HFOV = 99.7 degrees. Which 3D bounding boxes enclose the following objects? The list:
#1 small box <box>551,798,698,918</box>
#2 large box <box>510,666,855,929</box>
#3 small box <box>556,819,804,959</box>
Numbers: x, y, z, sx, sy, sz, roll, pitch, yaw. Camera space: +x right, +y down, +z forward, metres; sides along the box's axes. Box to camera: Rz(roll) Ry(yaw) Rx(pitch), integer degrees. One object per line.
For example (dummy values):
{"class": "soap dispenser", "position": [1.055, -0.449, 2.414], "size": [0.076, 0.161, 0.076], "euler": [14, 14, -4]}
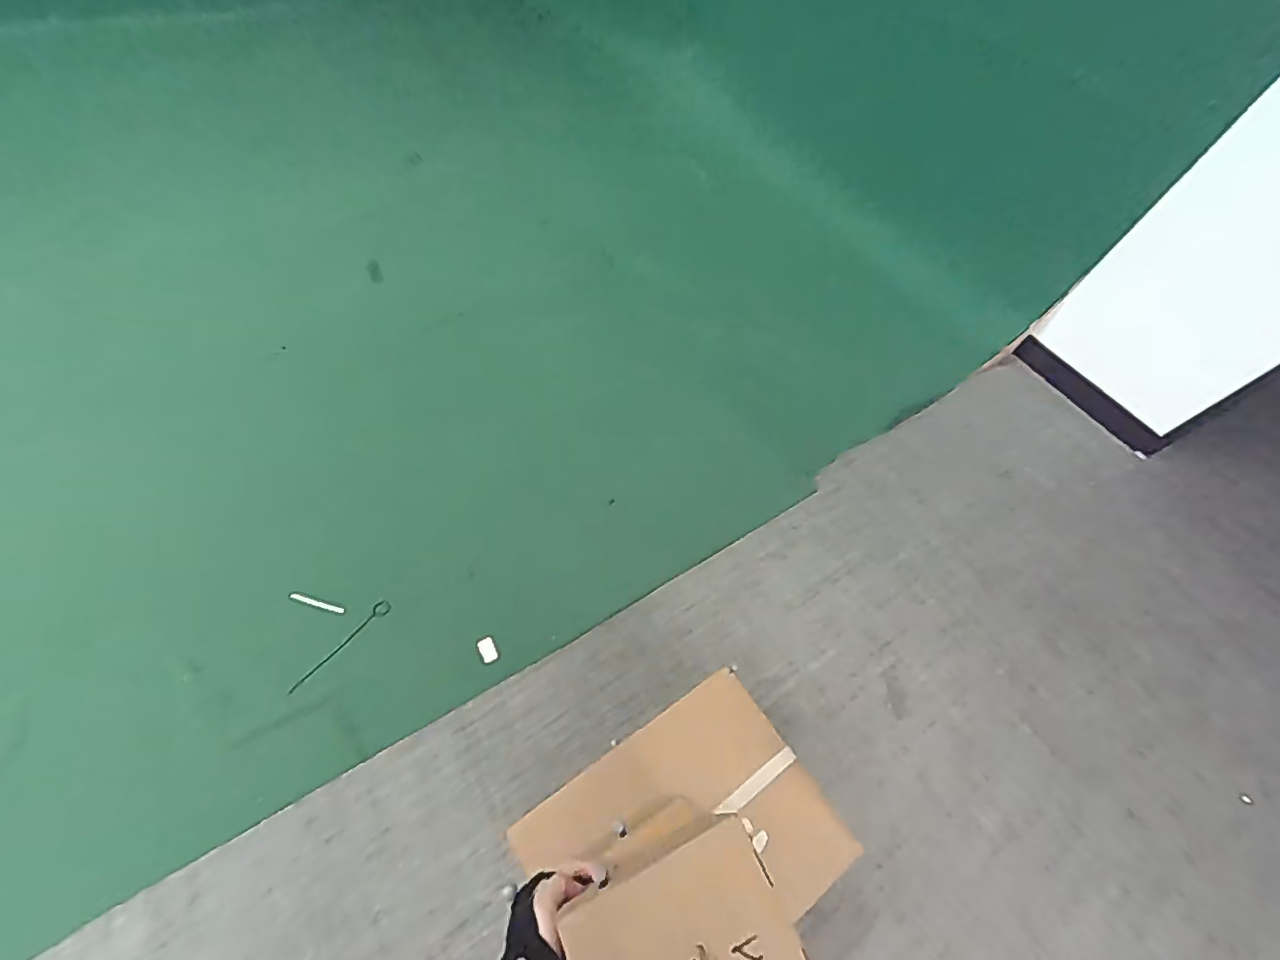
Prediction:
{"class": "small box", "position": [0.011, 0.506, 0.635], "size": [0.179, 0.176, 0.168], "euler": [-25, 66, -21]}
{"class": "large box", "position": [0.048, 0.580, 0.881], "size": [0.408, 0.320, 0.320], "euler": [-28, 67, -22]}
{"class": "small box", "position": [0.035, 0.435, 0.487], "size": [0.179, 0.176, 0.168], "euler": [-19, 63, -19]}
